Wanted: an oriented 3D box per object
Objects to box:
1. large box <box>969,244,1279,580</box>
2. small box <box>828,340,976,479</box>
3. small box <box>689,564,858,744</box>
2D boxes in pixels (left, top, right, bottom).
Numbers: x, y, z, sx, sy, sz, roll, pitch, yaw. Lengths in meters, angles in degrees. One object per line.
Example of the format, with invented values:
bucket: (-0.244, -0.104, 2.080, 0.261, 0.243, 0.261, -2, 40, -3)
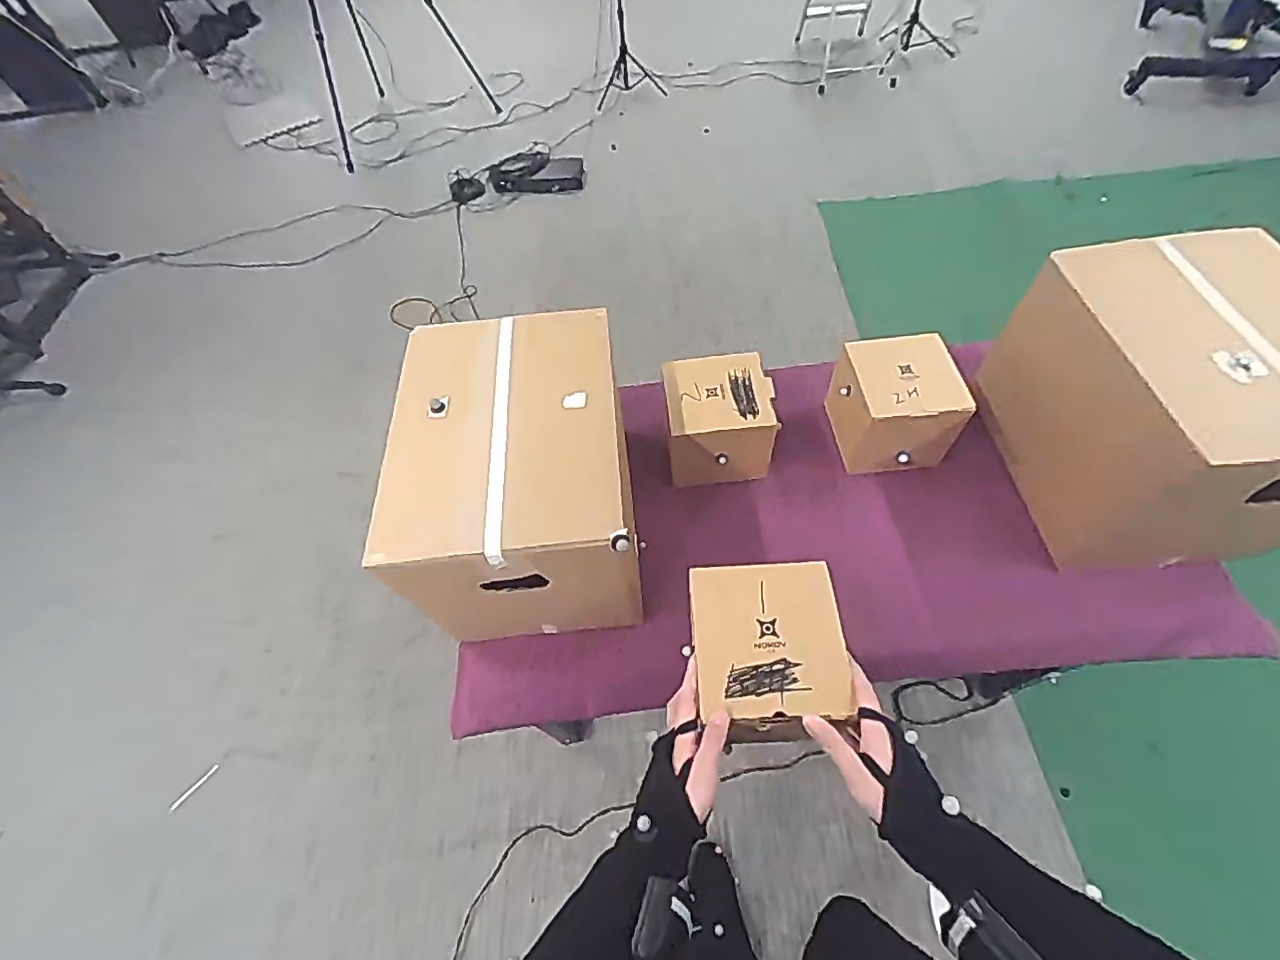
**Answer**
large box: (0.798, -0.098, 0.837, 0.320, 0.320, 0.408, -6, 57, 3)
small box: (0.450, -0.123, 0.966, 0.168, 0.176, 0.179, -5, 57, 2)
small box: (0.149, 0.220, 0.666, 0.168, 0.176, 0.179, -4, 55, 4)
